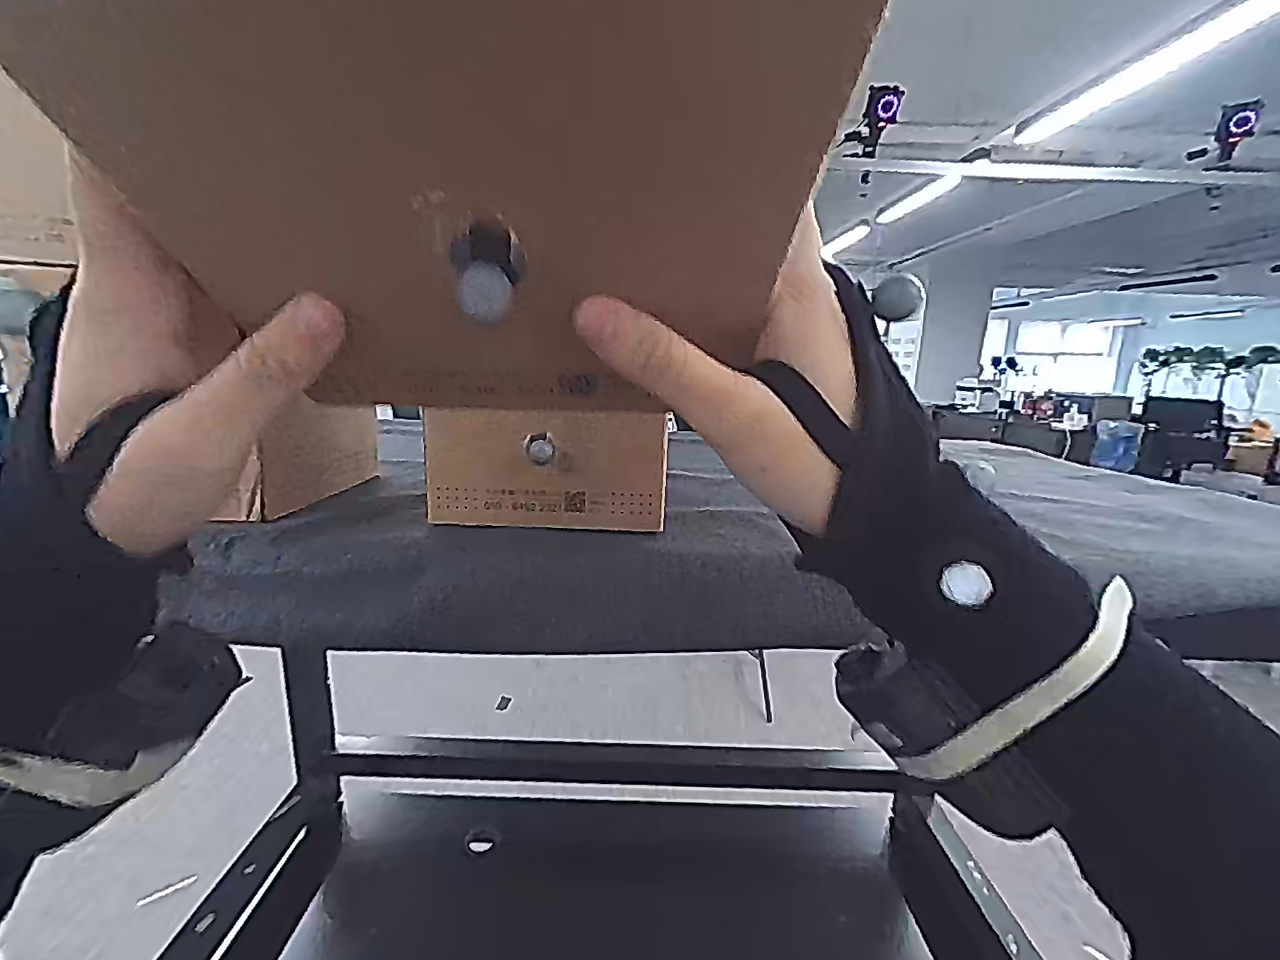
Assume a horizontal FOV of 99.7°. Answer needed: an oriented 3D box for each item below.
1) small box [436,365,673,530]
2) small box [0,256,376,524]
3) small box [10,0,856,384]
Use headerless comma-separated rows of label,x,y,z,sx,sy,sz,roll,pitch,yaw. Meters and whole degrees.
small box,-0.060,-0.065,0.441,0.168,0.176,0.179,2,11,0
small box,-0.333,-0.070,0.439,0.168,0.176,0.179,2,11,-2
small box,-0.039,-0.147,0.172,0.168,0.179,0.176,1,-23,-4
